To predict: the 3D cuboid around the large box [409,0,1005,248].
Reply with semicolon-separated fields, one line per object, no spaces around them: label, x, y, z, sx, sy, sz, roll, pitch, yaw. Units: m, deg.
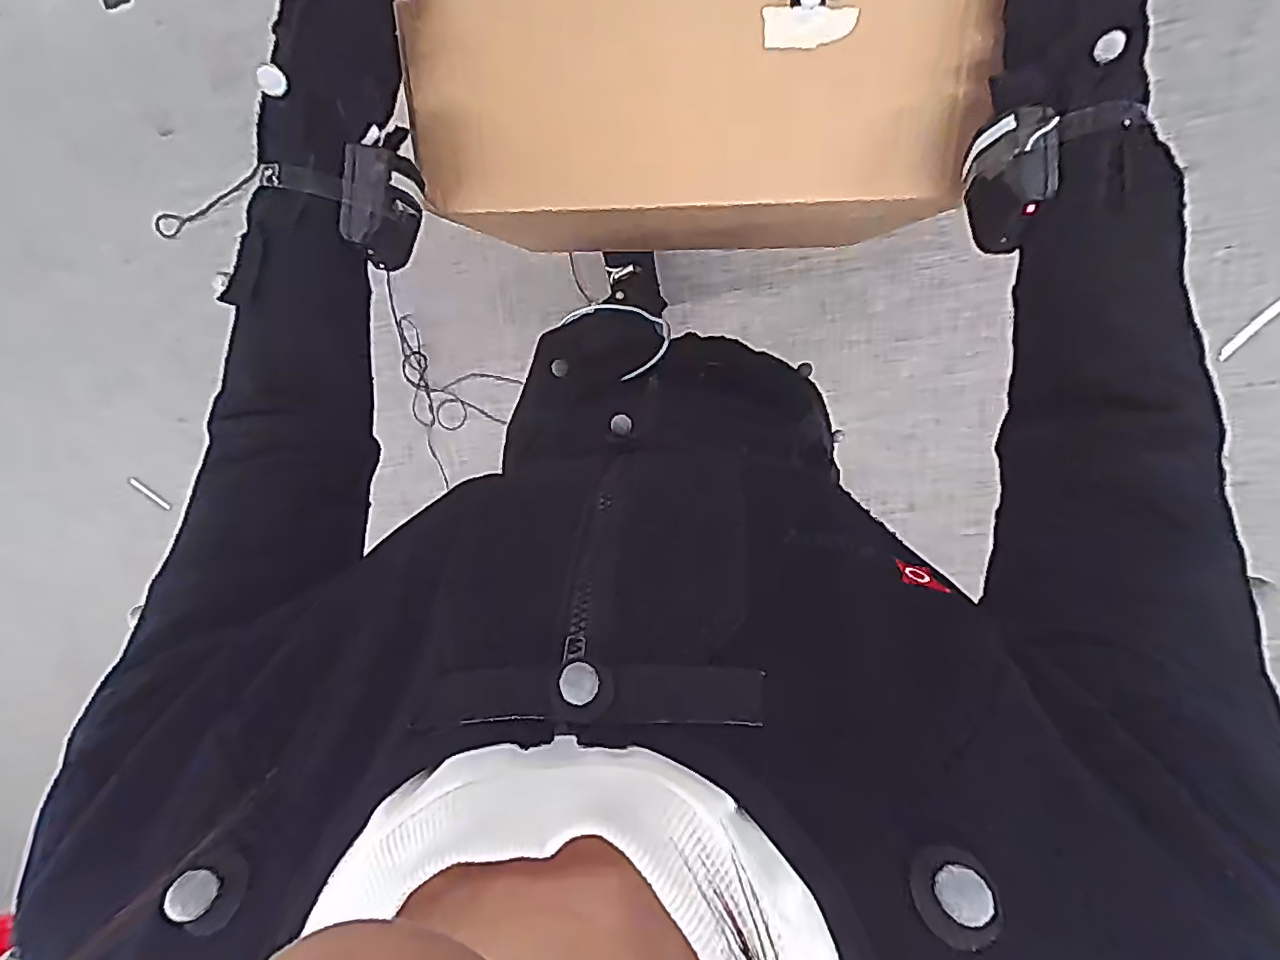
large box;0.044;-0.401;0.490;0.408;0.320;0.320;-1;108;3
